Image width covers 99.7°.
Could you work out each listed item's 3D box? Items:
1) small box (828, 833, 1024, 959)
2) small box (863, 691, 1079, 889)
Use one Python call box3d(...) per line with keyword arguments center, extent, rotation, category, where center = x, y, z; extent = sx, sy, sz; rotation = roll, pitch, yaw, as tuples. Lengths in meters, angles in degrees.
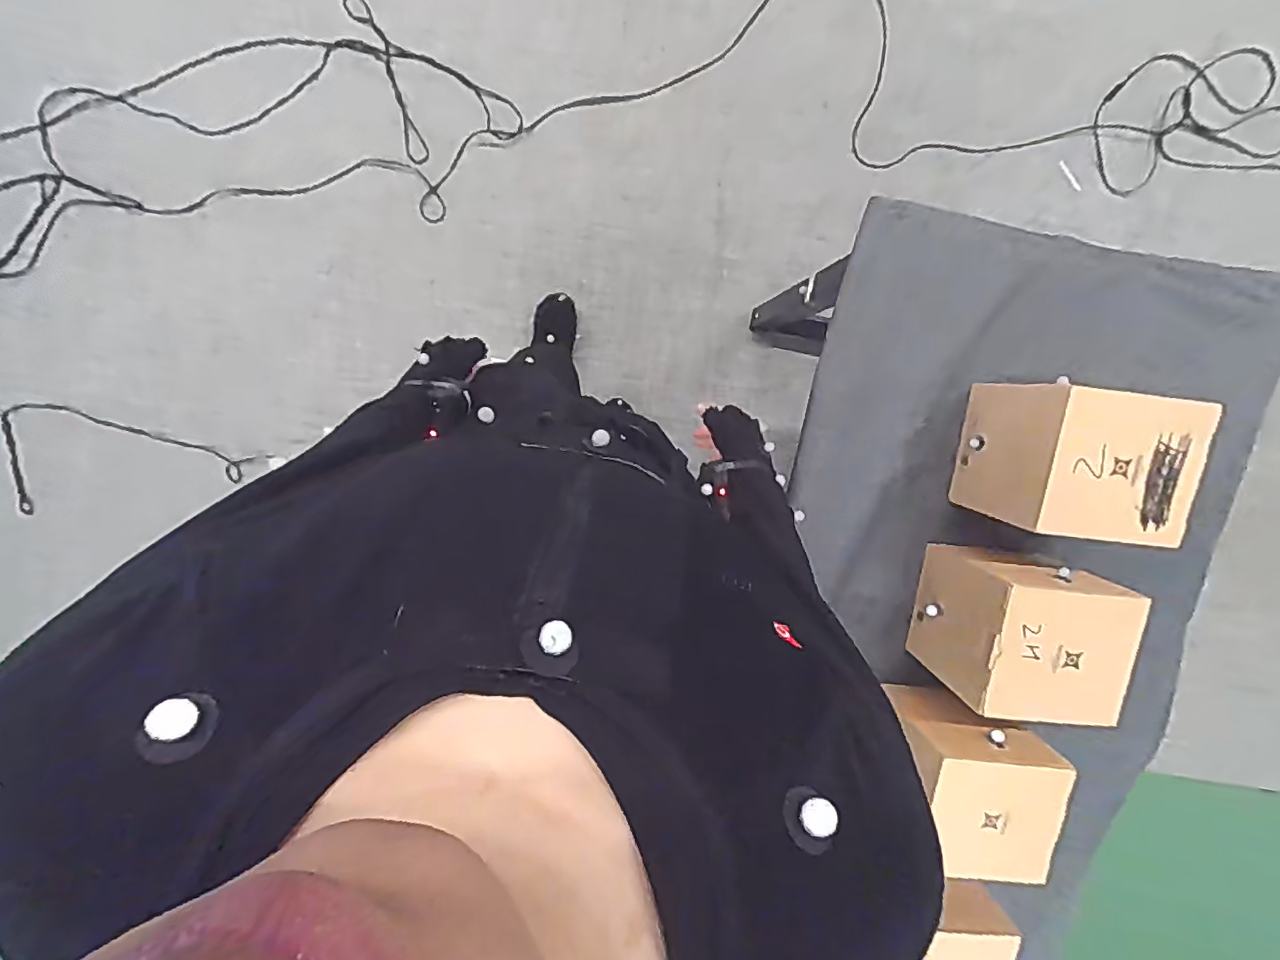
box3d(center=(0.393, 0.645, 0.777), extent=(0.179, 0.176, 0.168), rotation=(7, 100, -5), category="small box")
box3d(center=(0.434, 0.411, 0.741), extent=(0.179, 0.176, 0.168), rotation=(7, 99, -4), category="small box")
